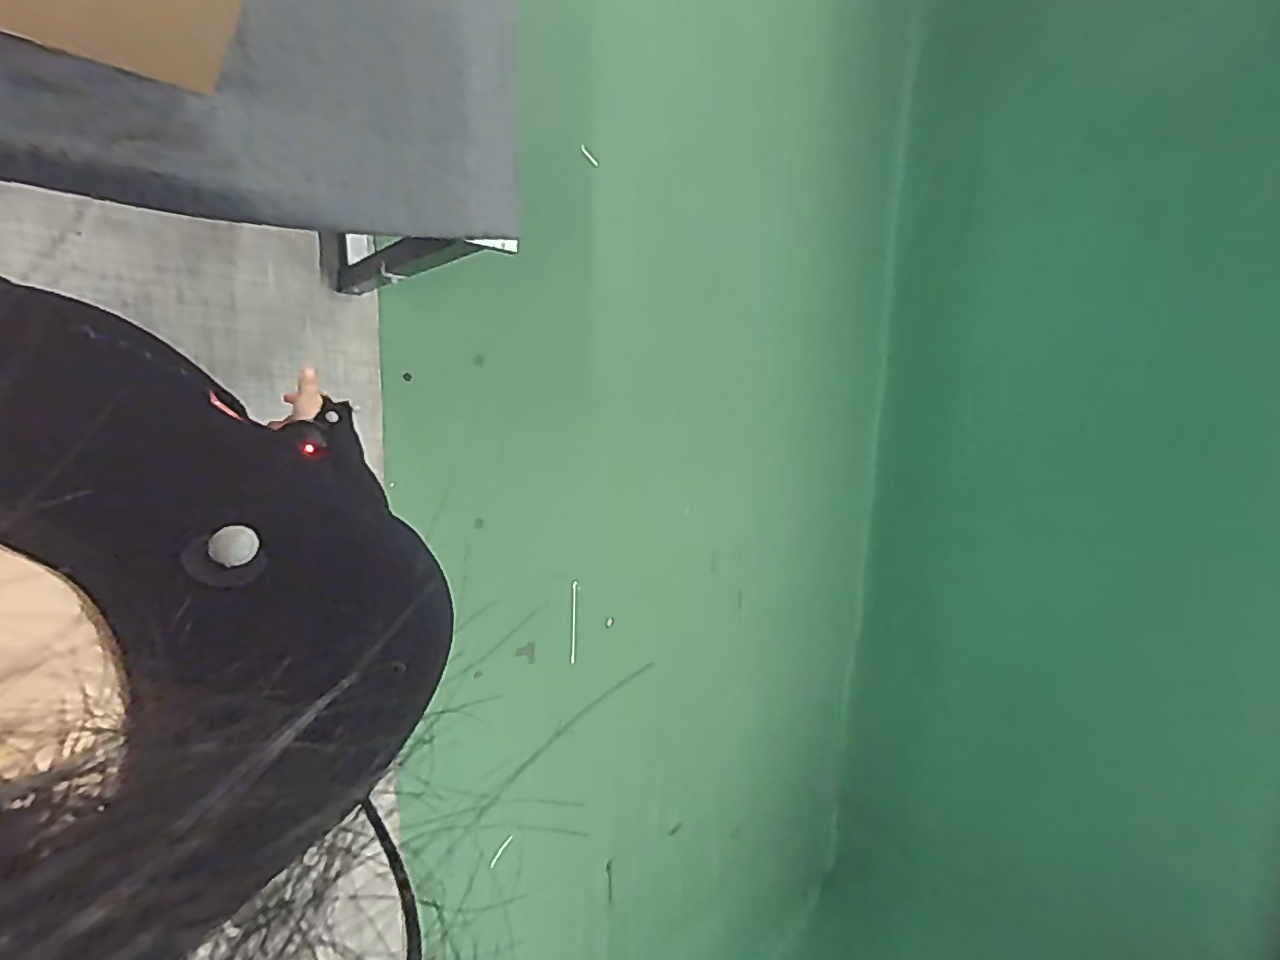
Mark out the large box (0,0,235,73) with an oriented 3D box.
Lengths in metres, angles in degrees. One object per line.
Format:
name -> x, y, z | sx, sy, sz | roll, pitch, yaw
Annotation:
large box -> -0.509, -0.546, 0.325 | 0.408, 0.320, 0.320 | -9, 104, -44
